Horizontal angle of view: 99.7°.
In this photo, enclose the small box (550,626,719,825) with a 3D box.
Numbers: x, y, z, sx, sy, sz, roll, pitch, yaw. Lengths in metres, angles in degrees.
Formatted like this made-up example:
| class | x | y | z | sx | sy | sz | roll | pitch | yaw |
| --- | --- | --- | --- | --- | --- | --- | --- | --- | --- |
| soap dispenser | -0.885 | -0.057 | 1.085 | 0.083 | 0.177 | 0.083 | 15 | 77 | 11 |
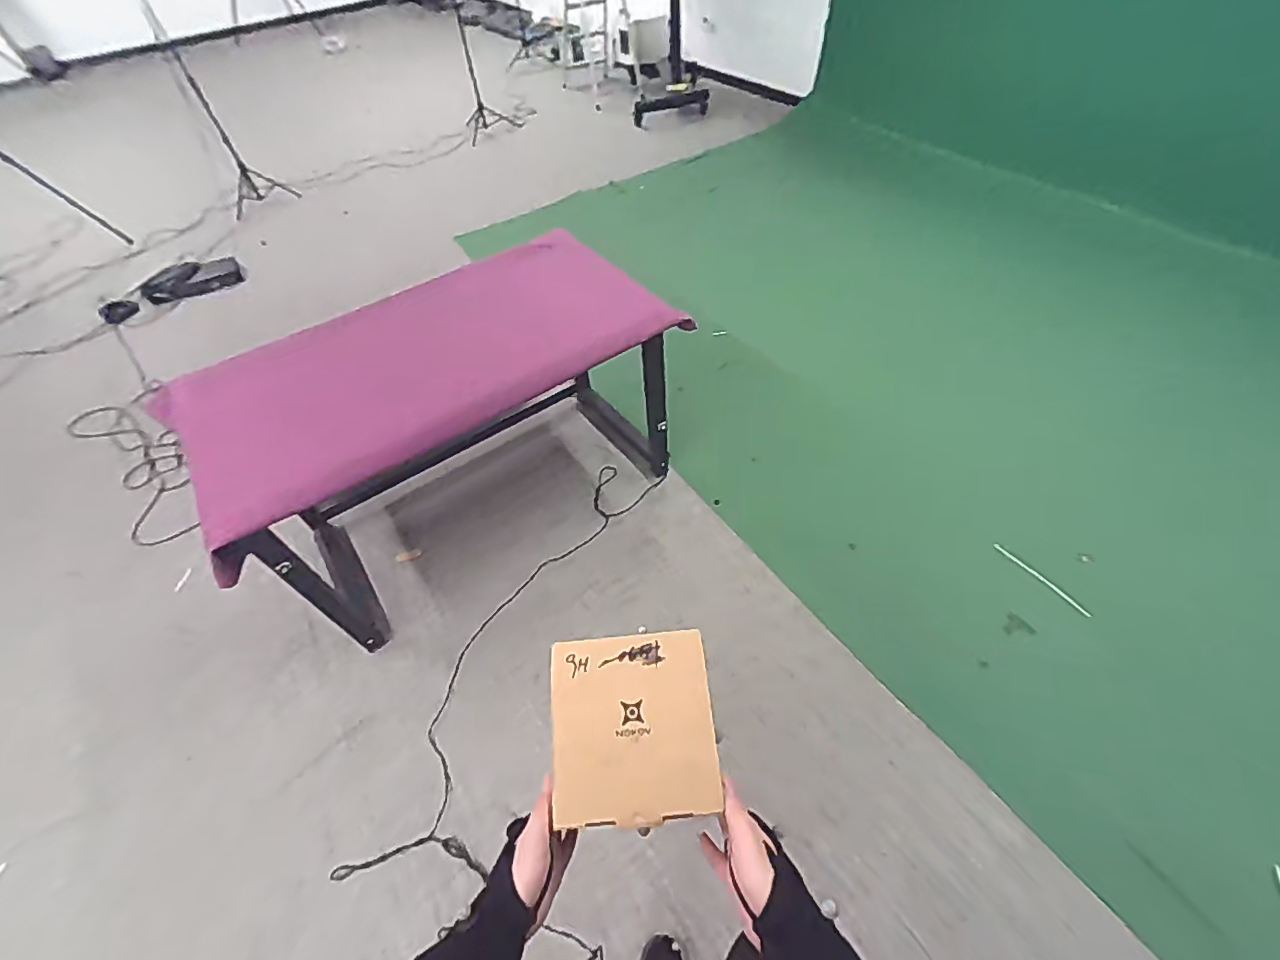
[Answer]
| class | x | y | z | sx | sy | sz | roll | pitch | yaw |
| --- | --- | --- | --- | --- | --- | --- | --- | --- | --- |
| small box | -0.007 | 0.279 | 0.622 | 0.168 | 0.176 | 0.179 | -6 | 62 | -1 |
